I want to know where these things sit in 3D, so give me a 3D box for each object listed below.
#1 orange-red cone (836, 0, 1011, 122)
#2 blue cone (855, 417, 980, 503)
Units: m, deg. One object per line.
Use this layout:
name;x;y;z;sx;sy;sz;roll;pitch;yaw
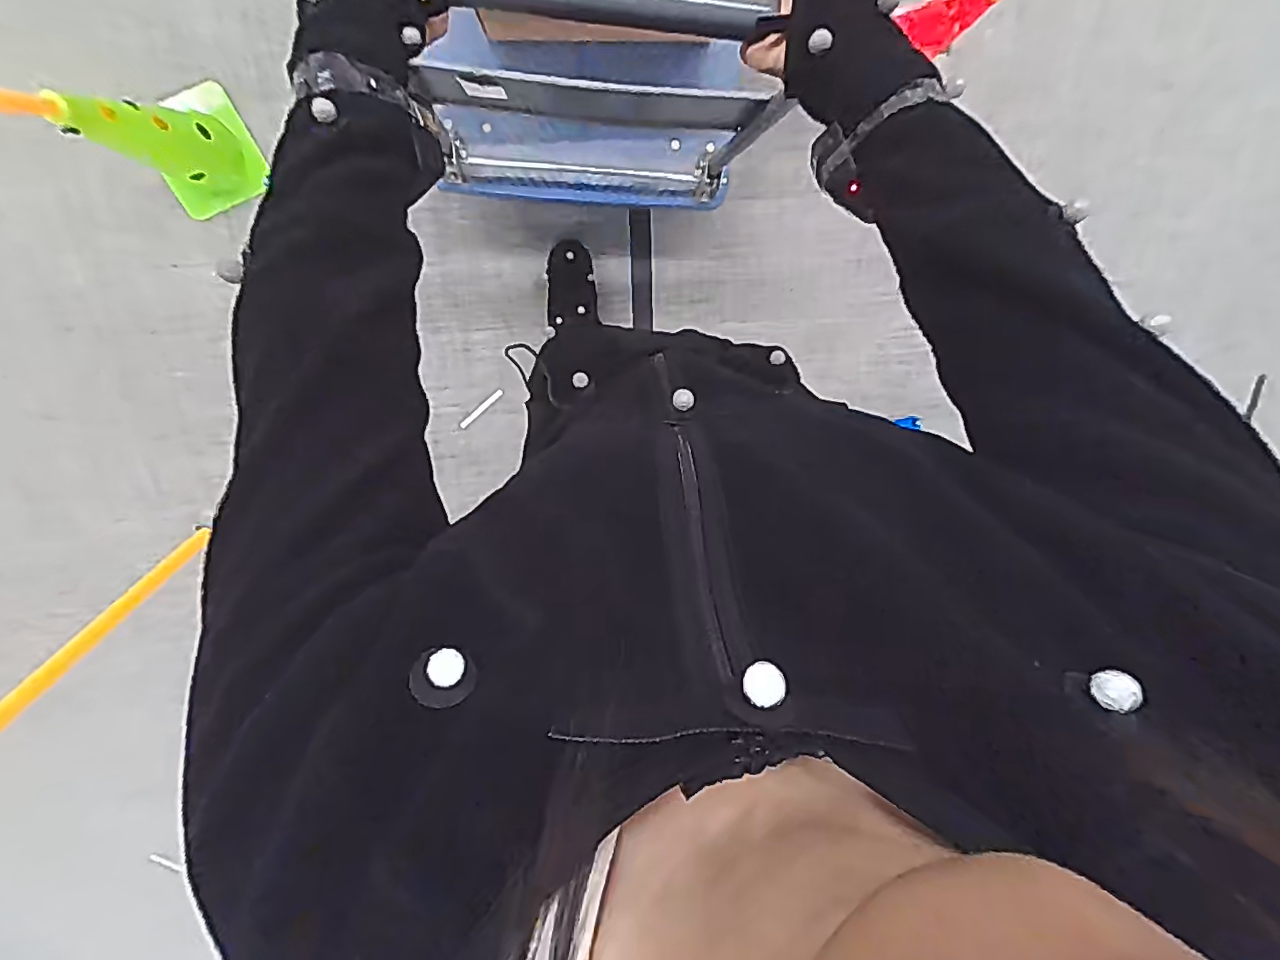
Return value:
orange-red cone;0.558;-0.841;1.021;0.199;0.360;0.198;1;112;-9
blue cone;0.722;-0.020;1.380;0.193;0.380;0.192;-9;111;-4
